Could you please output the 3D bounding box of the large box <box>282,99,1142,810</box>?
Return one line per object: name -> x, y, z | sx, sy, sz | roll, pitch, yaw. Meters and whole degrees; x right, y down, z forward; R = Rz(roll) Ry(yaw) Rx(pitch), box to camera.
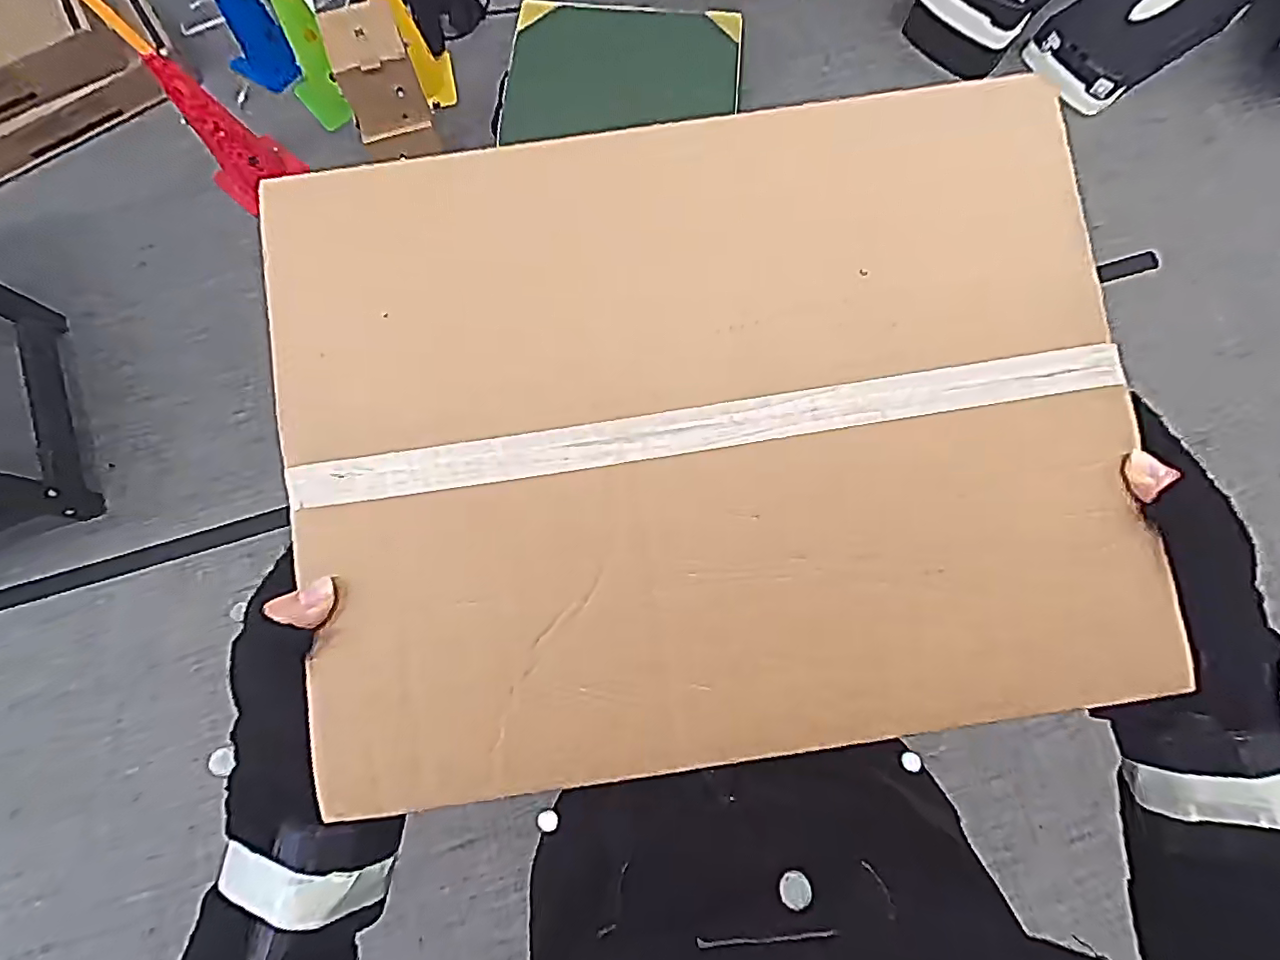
large box -> 0.032, -0.012, 0.422 | 0.408, 0.320, 0.320 | -9, 85, -1
